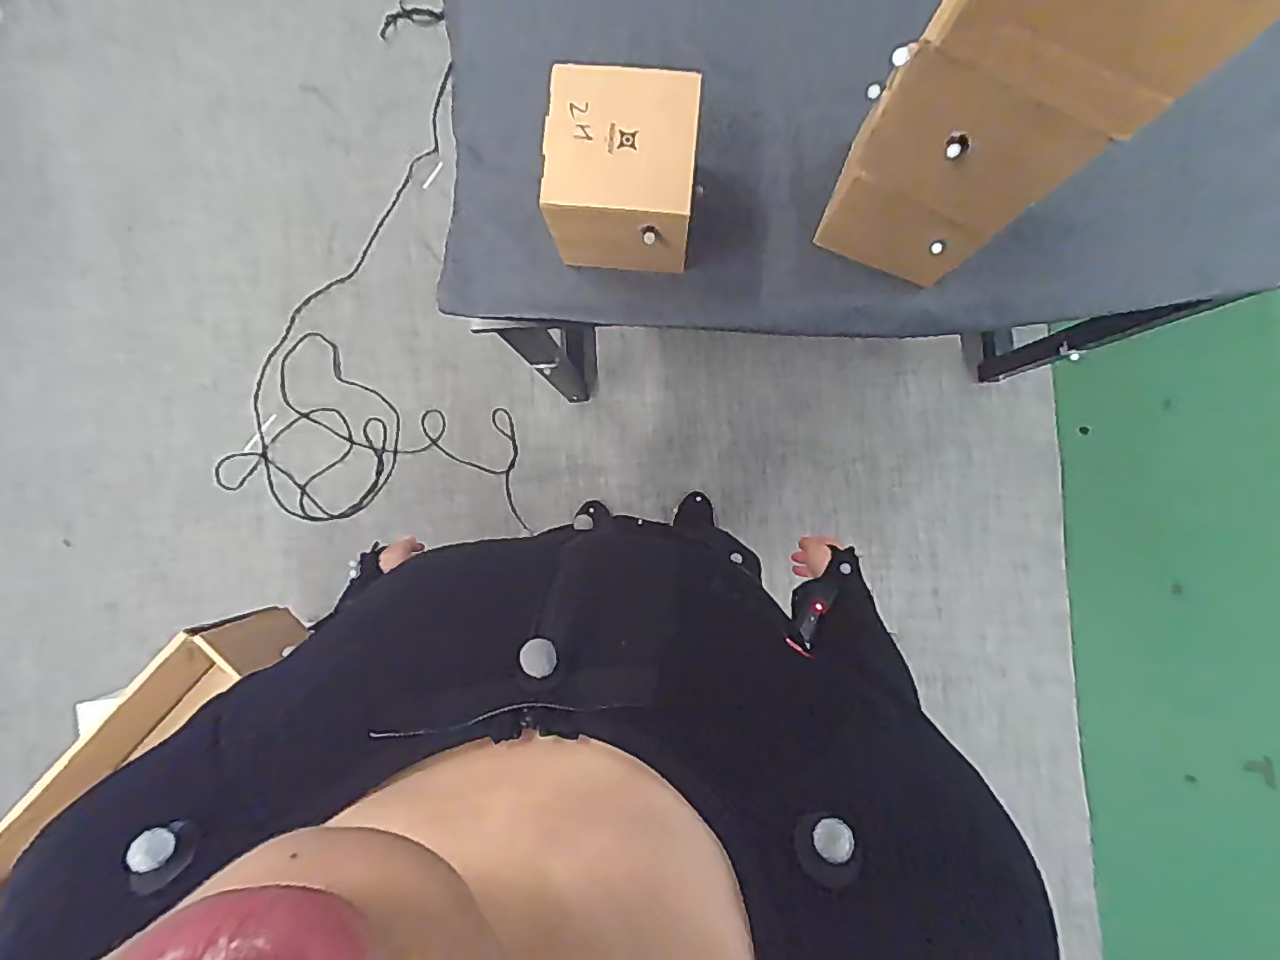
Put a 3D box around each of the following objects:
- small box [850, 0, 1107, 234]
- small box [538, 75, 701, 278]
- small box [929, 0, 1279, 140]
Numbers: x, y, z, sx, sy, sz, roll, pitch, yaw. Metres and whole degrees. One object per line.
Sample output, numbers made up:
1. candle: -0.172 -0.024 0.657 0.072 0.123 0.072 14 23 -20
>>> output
1. small box: 0.341 -0.373 0.523 0.179 0.176 0.168 30 89 4
2. small box: -0.022 -0.377 0.701 0.179 0.176 0.168 5 89 2
3. small box: 0.338 -0.377 0.361 0.179 0.176 0.168 30 88 2
